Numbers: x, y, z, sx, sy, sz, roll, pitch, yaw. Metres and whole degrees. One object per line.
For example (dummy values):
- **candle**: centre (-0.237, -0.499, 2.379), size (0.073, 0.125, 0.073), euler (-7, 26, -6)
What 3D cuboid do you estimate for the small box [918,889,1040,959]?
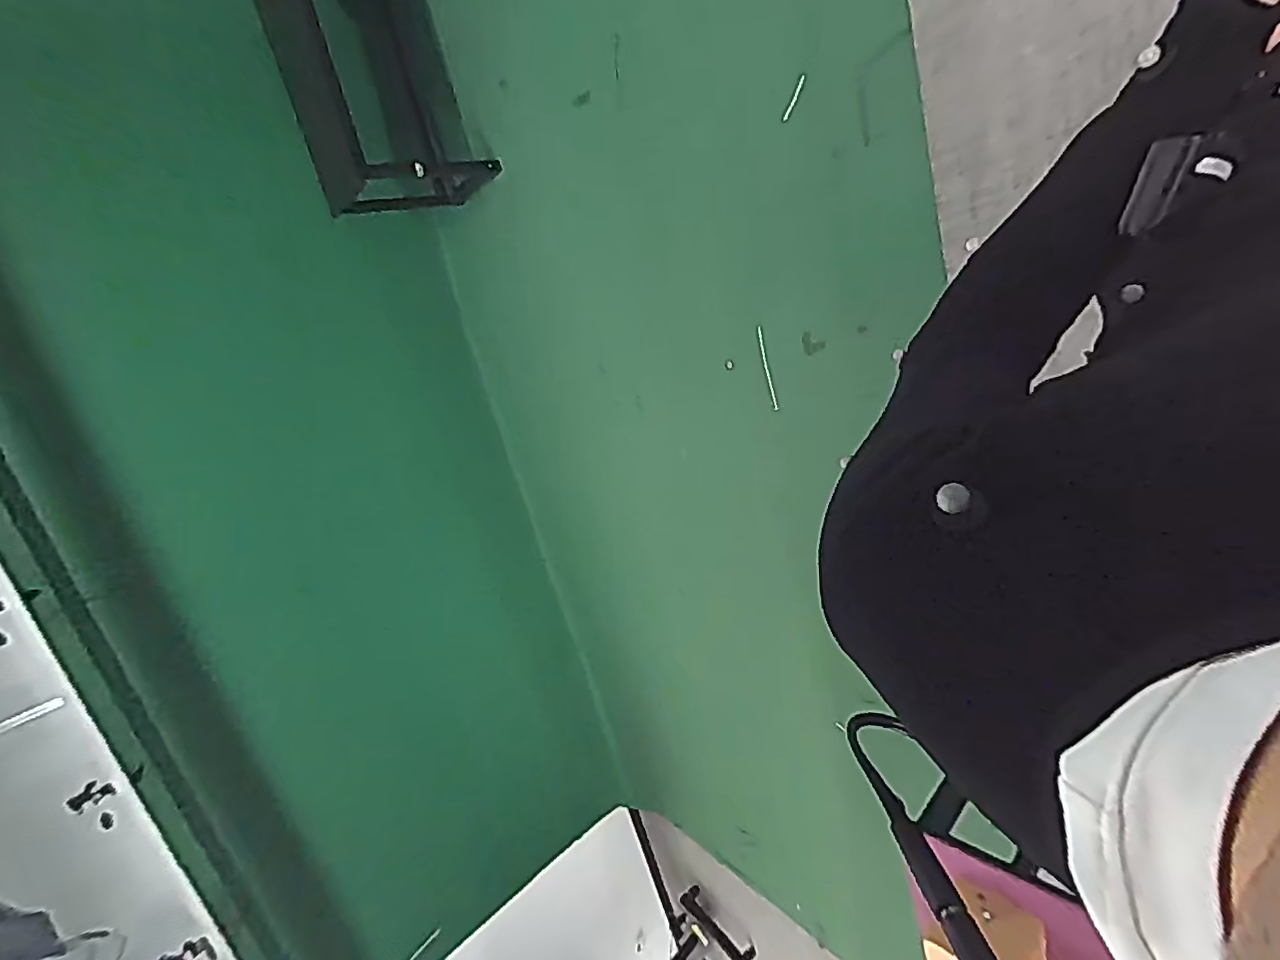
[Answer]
- **small box**: centre (0.697, 1.004, 1.101), size (0.168, 0.176, 0.179), euler (2, 111, 51)
